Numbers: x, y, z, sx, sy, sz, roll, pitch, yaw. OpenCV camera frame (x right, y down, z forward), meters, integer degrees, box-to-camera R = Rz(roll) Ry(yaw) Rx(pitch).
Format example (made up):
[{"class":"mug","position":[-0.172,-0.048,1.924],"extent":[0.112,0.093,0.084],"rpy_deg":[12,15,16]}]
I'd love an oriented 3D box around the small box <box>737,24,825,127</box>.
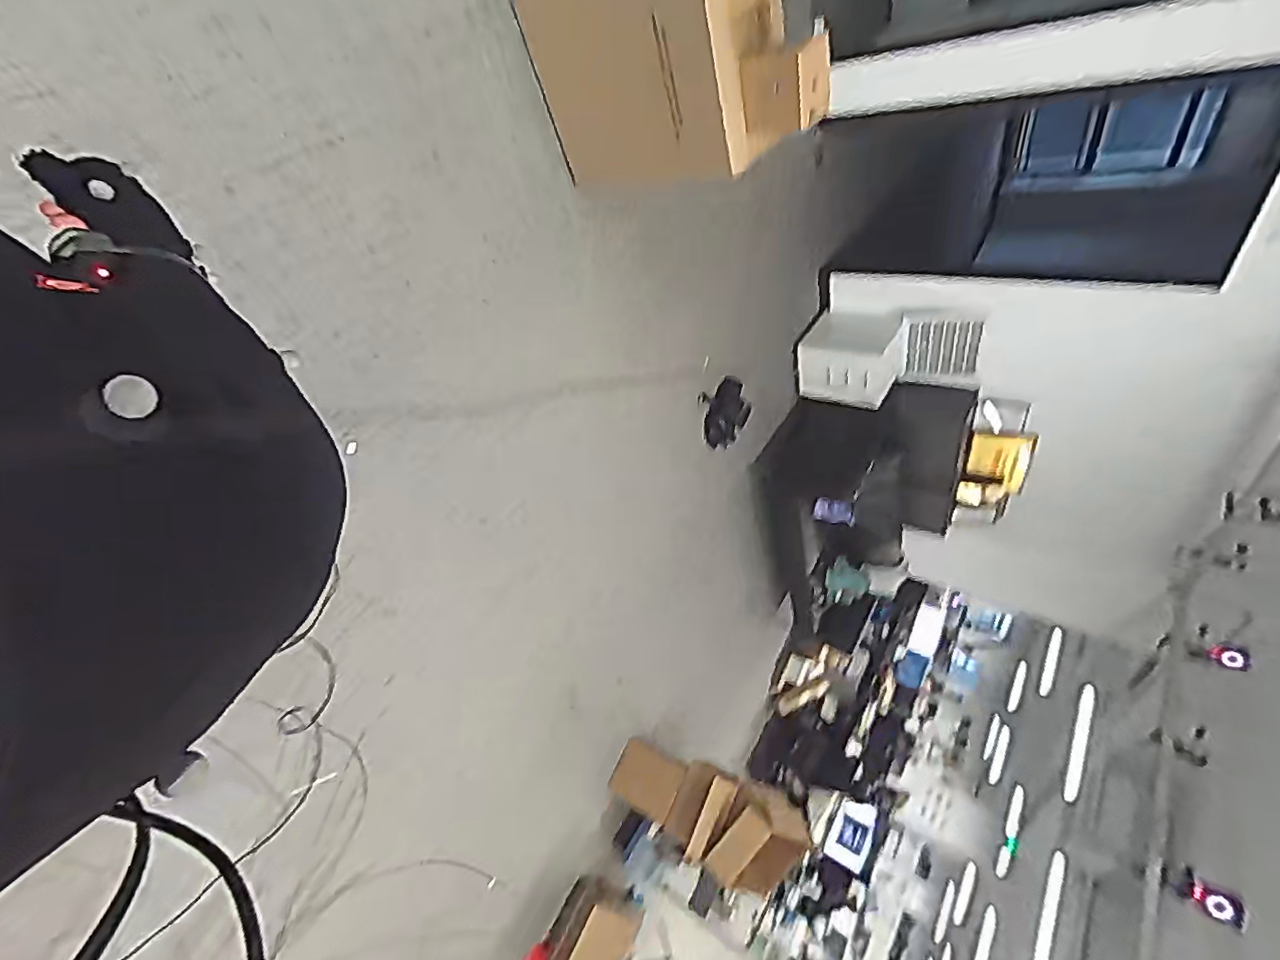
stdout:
[{"class":"small box","position":[0.378,-1.079,1.453],"extent":[0.168,0.176,0.179],"rpy_deg":[-47,139,-25]}]
